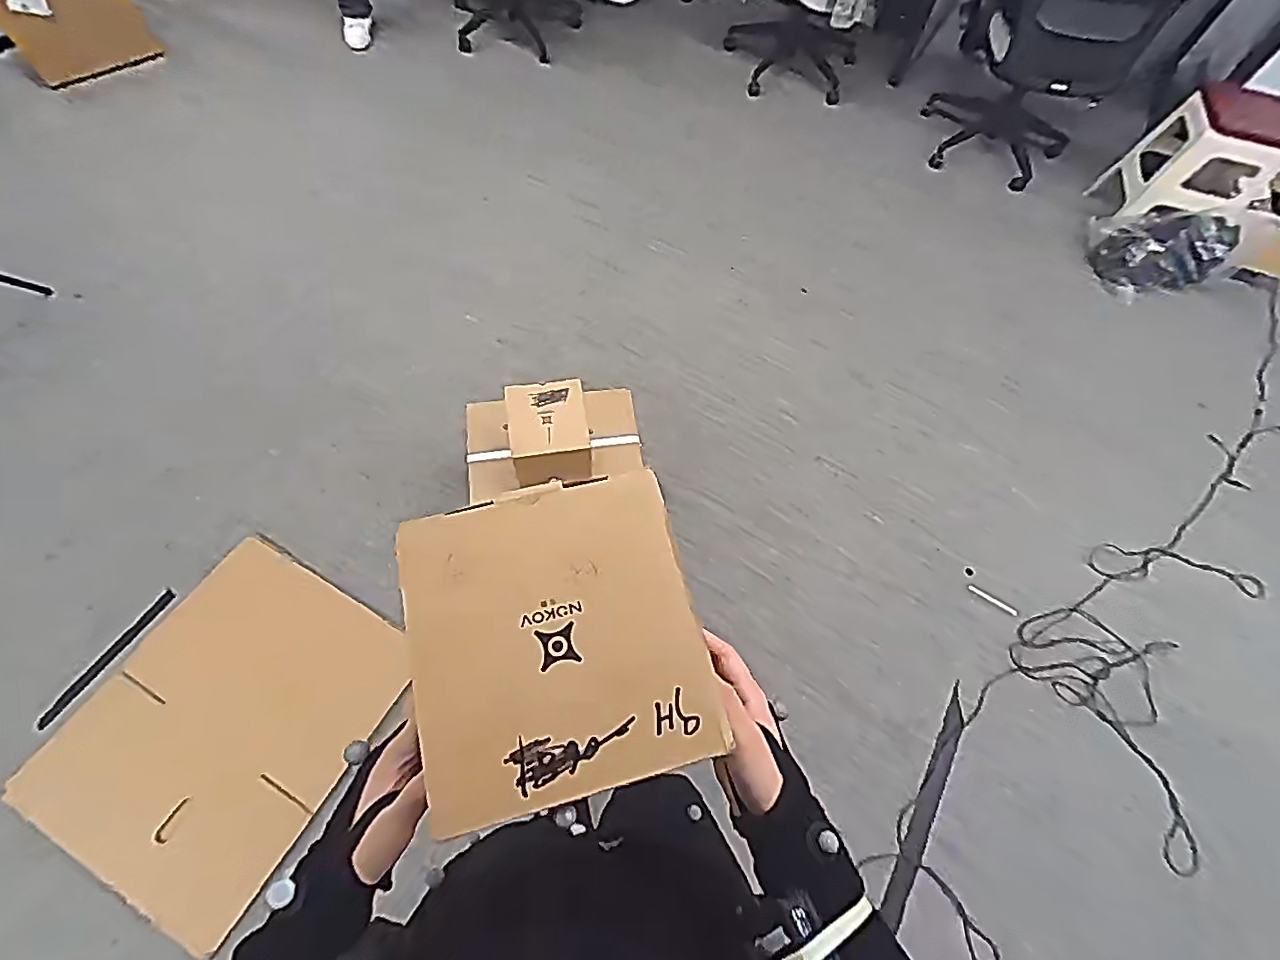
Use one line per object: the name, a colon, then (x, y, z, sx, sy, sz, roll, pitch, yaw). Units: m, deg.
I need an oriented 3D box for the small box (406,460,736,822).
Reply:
small box: (-0.049, 0.111, 0.388, 0.168, 0.176, 0.179, -13, 69, -7)

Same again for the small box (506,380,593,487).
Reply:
small box: (-0.199, -0.097, 1.200, 0.168, 0.176, 0.179, -8, 66, -8)
